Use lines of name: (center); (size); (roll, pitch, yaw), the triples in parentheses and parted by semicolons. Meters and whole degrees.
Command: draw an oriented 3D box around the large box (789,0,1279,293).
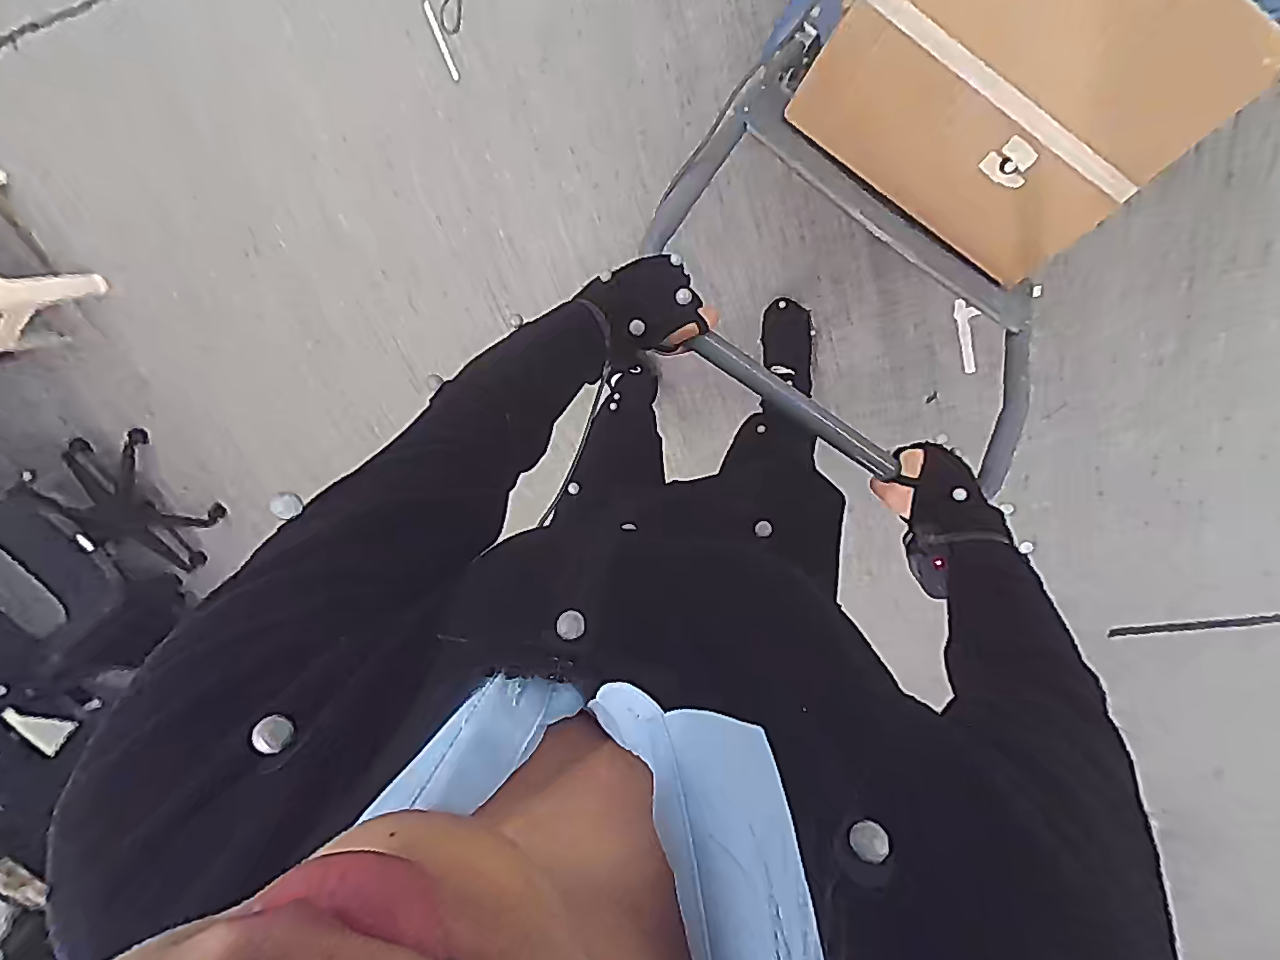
large box: (0.471, -0.540, 0.705); (0.408, 0.320, 0.320); (32, 144, -8)
